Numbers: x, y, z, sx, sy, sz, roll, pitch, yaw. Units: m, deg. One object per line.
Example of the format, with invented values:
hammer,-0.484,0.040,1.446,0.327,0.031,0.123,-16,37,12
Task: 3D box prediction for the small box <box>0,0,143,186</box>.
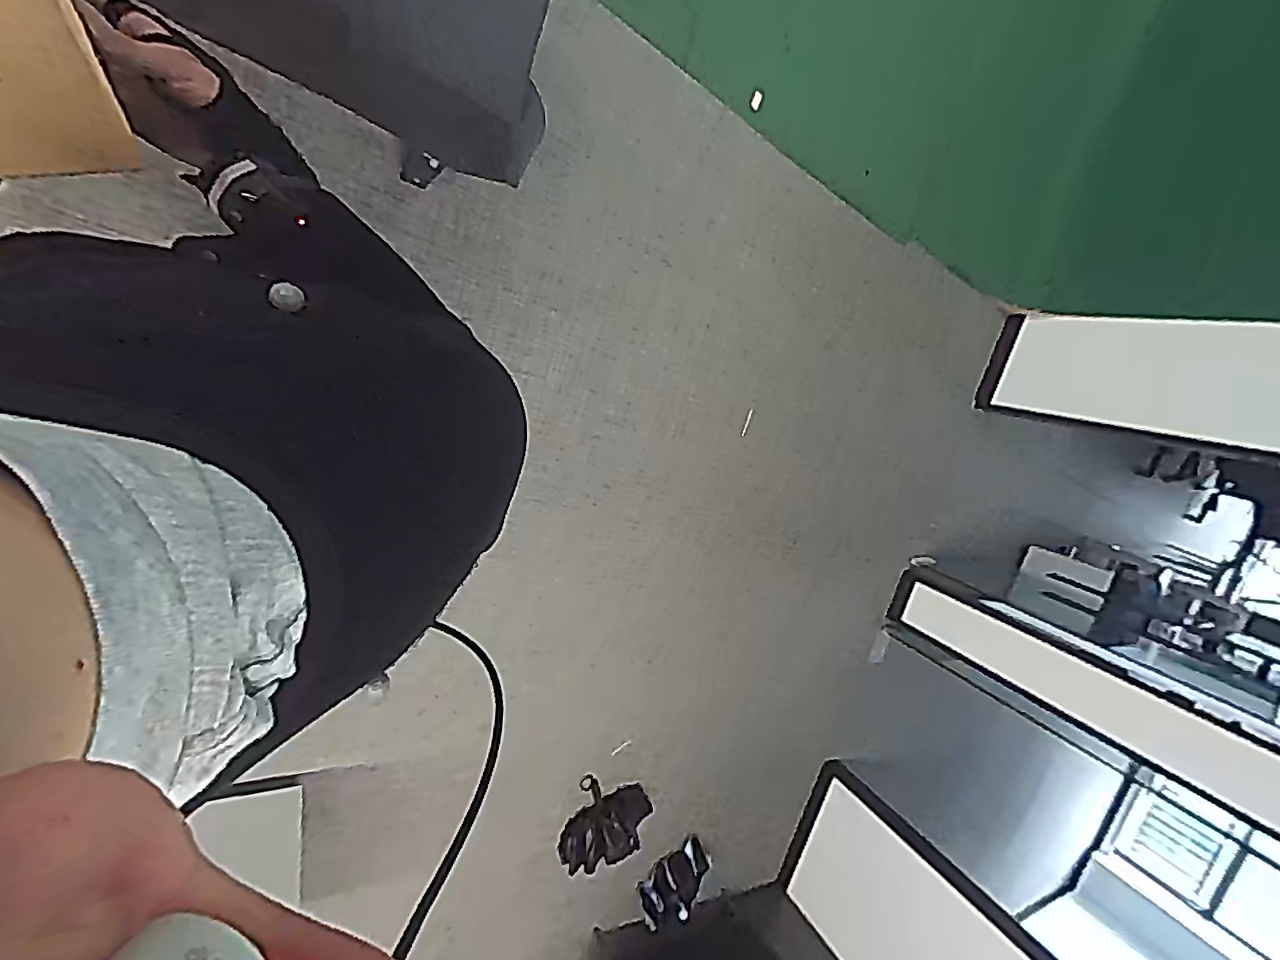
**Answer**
small box,-0.420,-0.267,0.294,0.168,0.176,0.179,-24,134,-31
